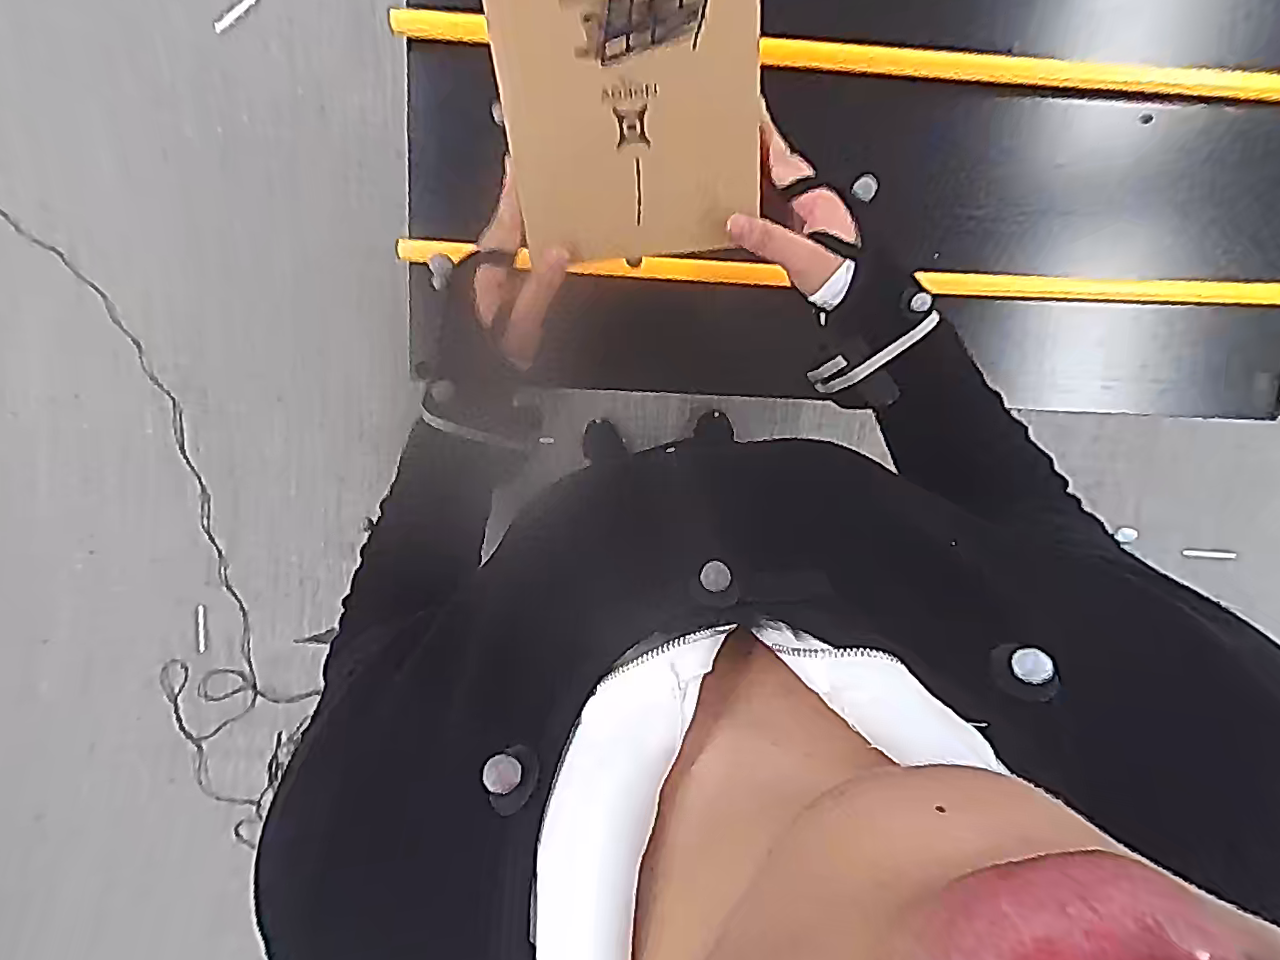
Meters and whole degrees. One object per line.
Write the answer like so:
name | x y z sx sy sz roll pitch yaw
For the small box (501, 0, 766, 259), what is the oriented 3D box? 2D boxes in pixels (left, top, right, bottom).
small box | -0.002 -0.280 0.427 0.168 0.176 0.179 -6 116 1
